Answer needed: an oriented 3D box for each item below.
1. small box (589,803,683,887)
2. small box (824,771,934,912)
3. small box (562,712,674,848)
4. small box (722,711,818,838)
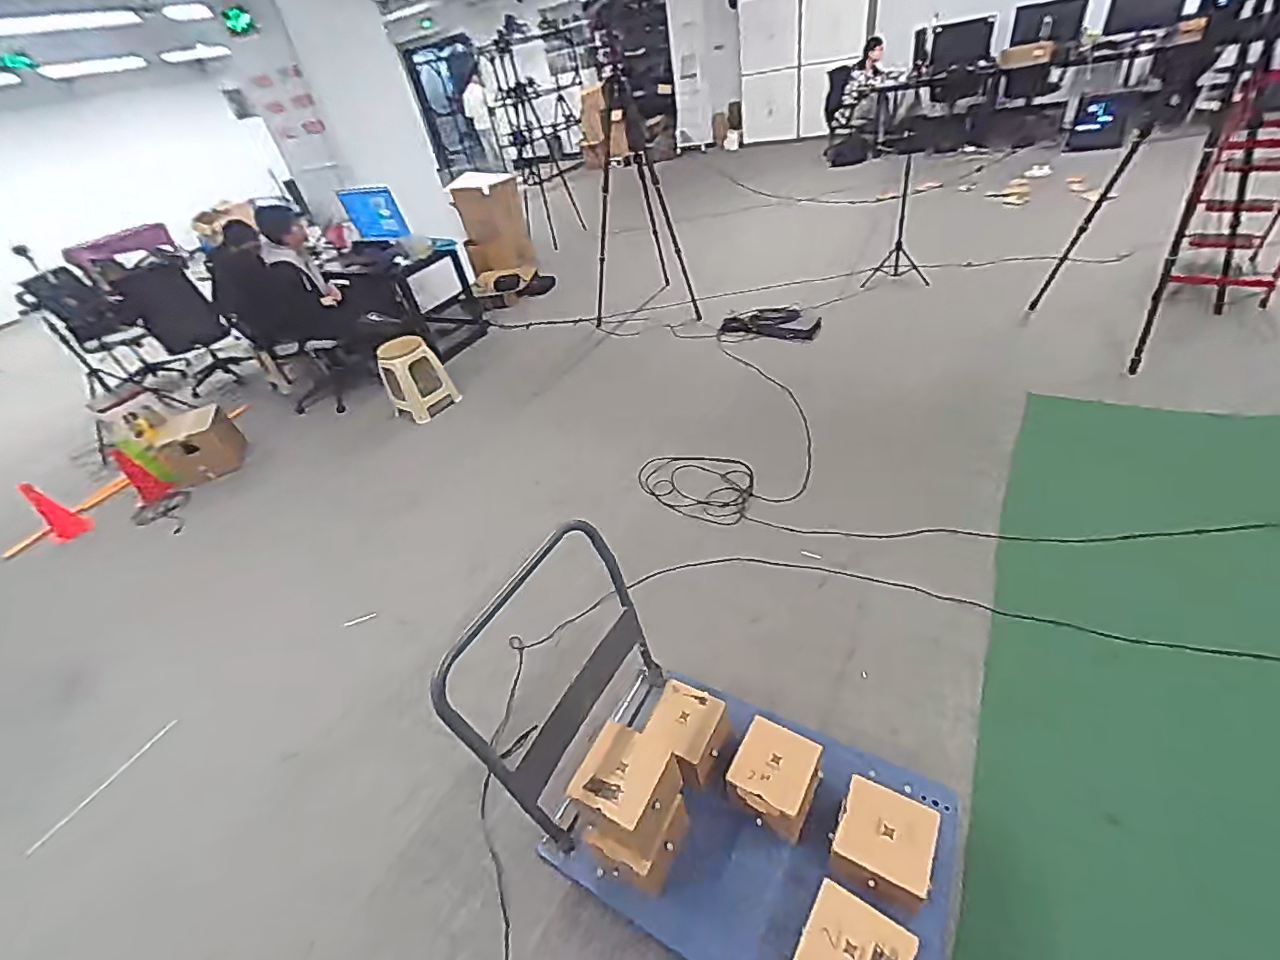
[{"bbox_3d":[-0.018,0.798,1.265,0.168,0.176,0.179,-27,40,-15],"label":"small box"},{"bbox_3d":[0.501,0.768,1.147,0.179,0.176,0.168,15,46,30],"label":"small box"},{"bbox_3d":[-0.037,0.652,1.173,0.168,0.176,0.179,14,45,29],"label":"small box"},{"bbox_3d":[0.310,0.698,1.285,0.168,0.176,0.179,16,47,32],"label":"small box"}]
